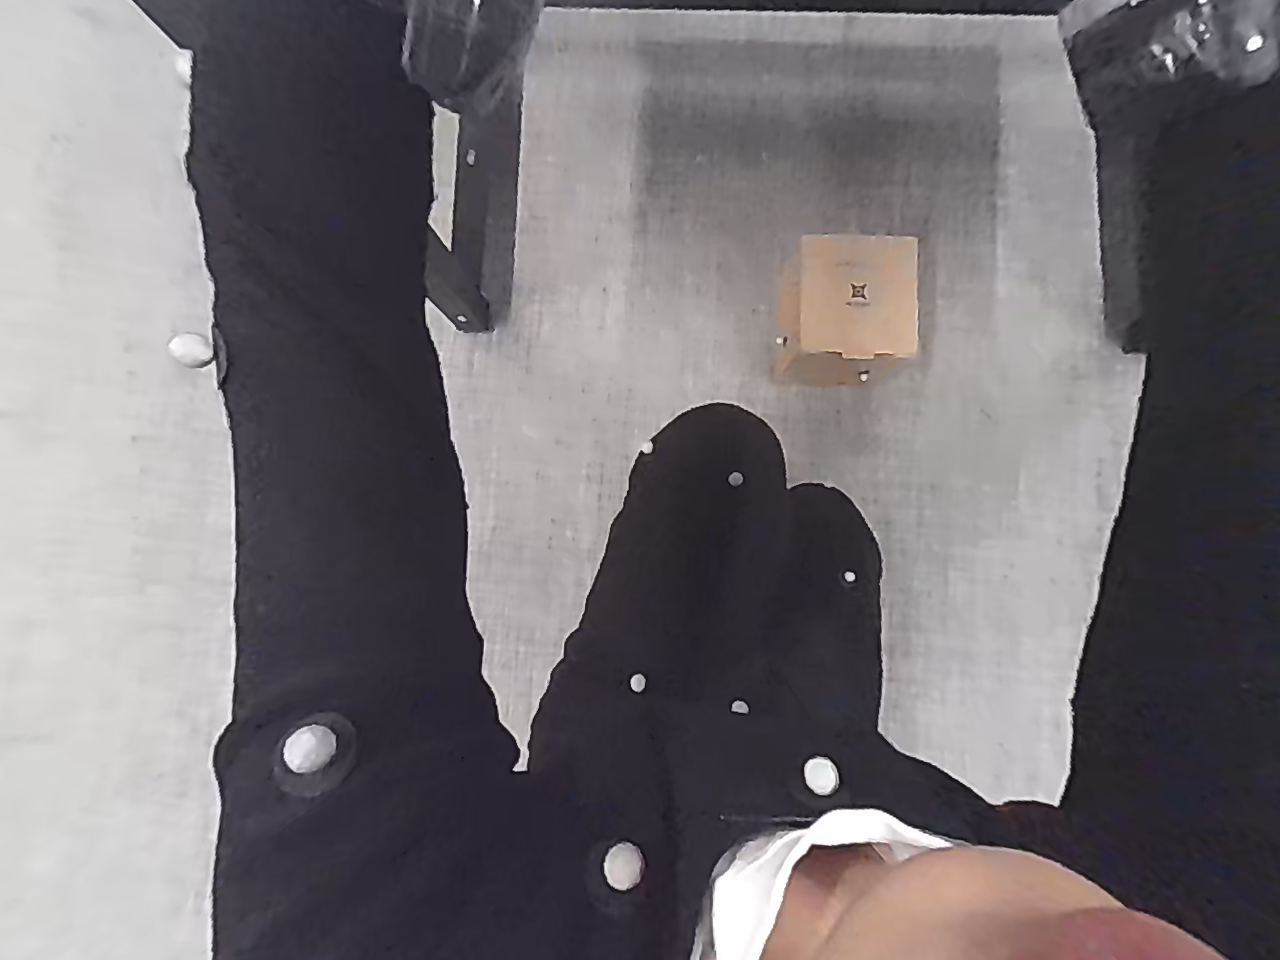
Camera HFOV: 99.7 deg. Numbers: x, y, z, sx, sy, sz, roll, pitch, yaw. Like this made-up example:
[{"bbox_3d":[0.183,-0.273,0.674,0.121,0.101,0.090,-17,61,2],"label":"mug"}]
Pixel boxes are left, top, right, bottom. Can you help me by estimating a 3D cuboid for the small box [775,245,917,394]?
[{"bbox_3d":[0.312,-0.240,0.845,0.168,0.176,0.179,2,82,2],"label":"small box"}]
